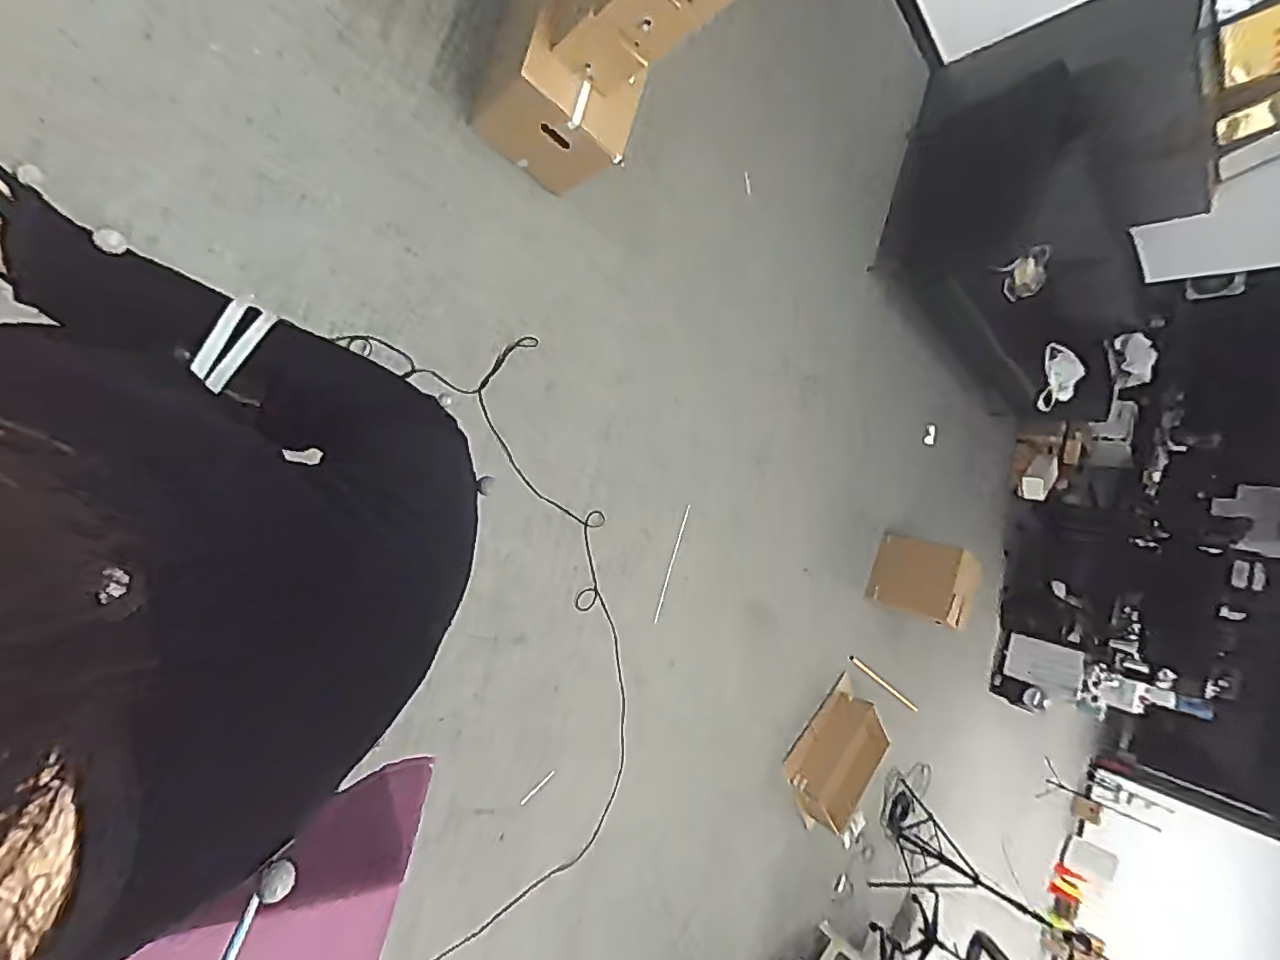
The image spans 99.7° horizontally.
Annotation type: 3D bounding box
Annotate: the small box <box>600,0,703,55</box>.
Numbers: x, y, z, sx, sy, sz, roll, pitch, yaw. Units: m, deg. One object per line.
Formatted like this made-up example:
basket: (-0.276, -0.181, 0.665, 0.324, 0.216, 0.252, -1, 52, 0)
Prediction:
small box: (0.032, -1.050, 1.127, 0.168, 0.176, 0.179, 10, 91, -39)
